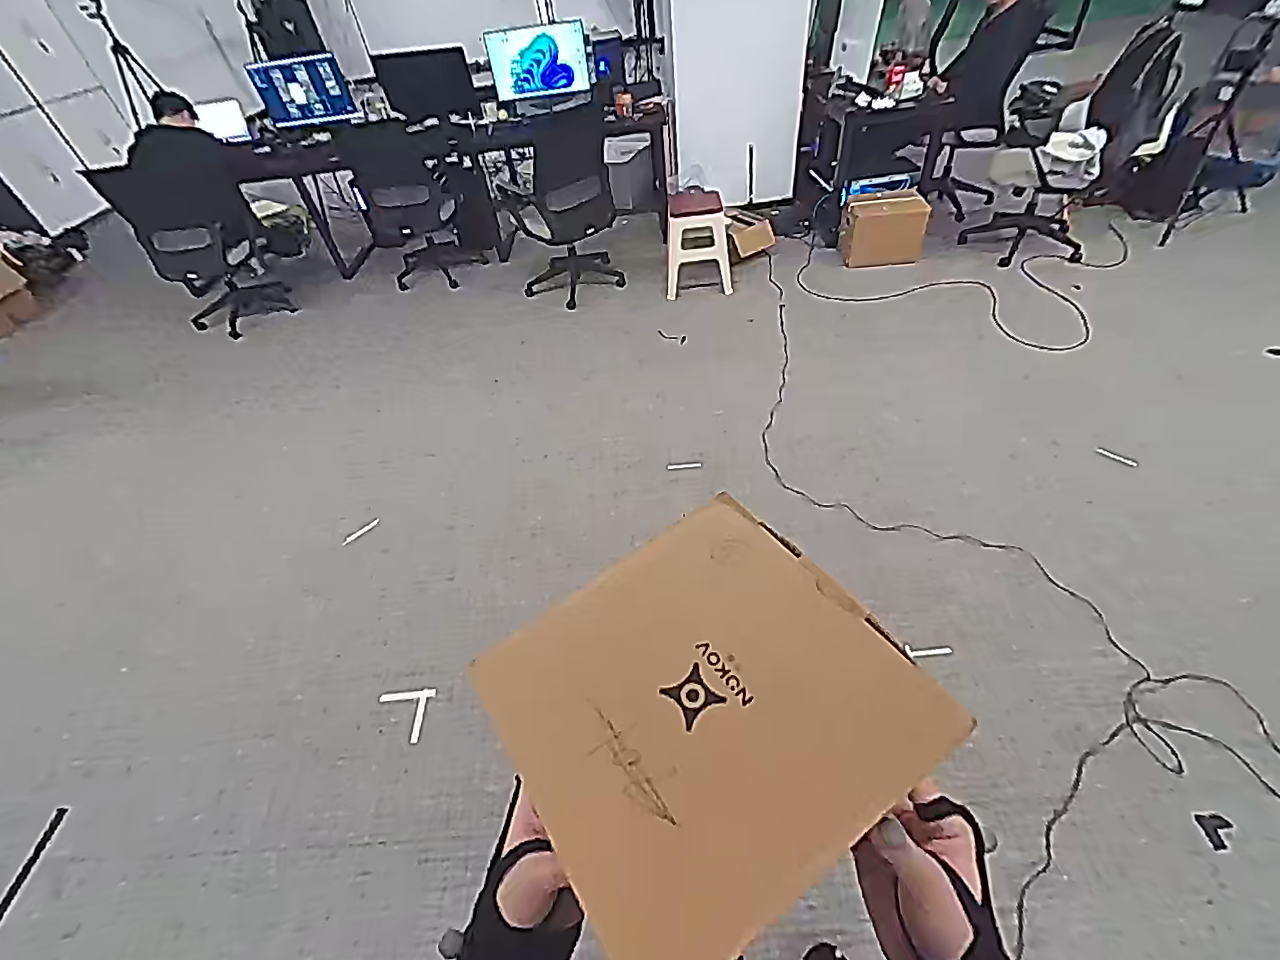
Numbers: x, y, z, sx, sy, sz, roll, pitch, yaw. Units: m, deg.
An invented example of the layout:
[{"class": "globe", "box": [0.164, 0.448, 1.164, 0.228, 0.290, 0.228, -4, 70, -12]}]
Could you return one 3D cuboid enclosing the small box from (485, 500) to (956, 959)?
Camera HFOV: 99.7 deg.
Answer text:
[{"class": "small box", "box": [0.040, 0.152, 0.328, 0.179, 0.176, 0.168, -33, 53, -15]}]
